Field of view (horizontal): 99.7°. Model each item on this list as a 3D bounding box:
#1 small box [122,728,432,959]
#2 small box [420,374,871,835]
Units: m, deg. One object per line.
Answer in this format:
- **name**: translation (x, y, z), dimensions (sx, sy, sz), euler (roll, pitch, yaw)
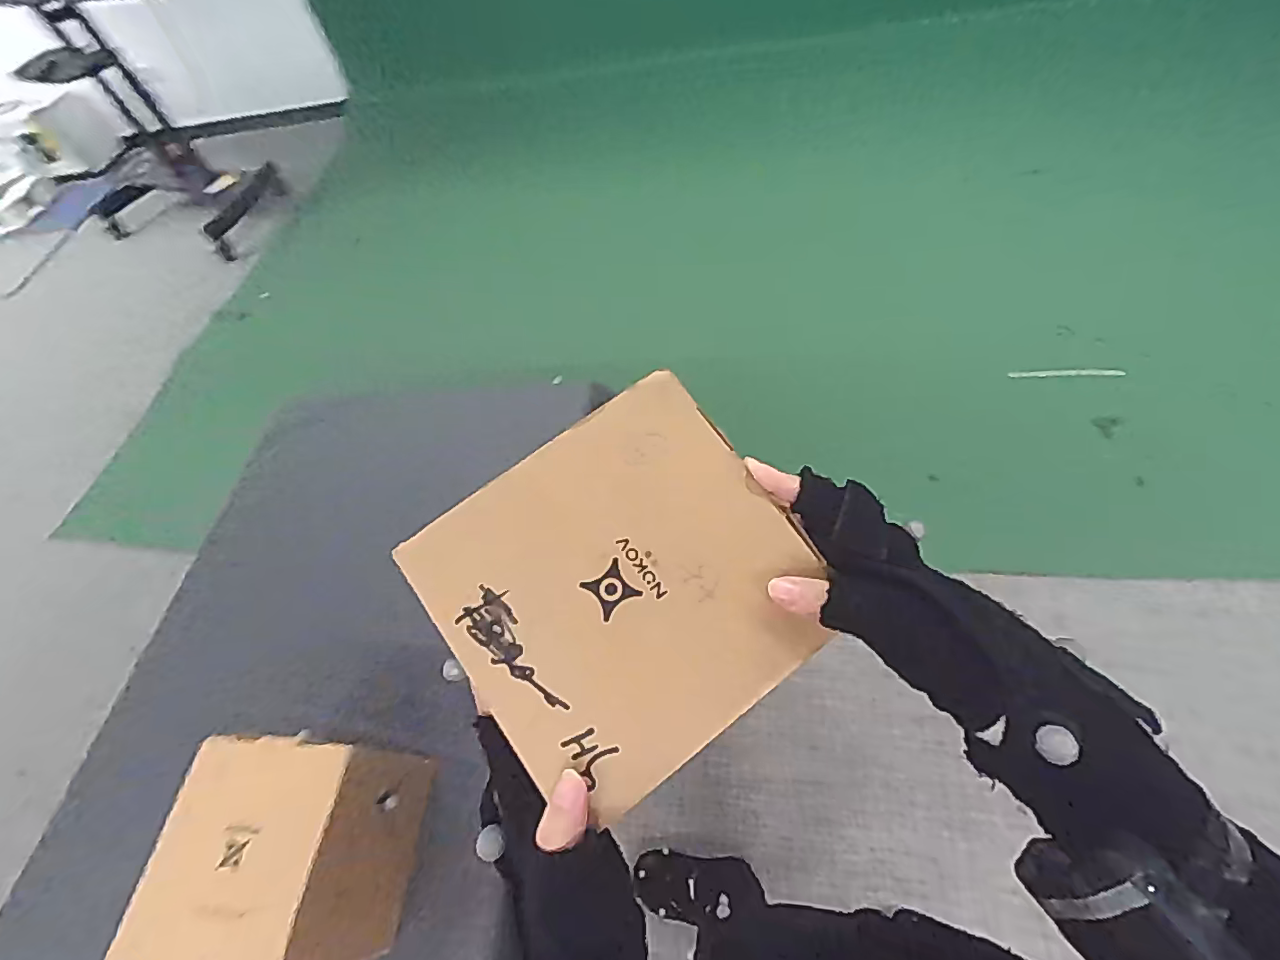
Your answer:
- **small box**: translation (-0.338, 0.361, 0.550), dimensions (0.168, 0.176, 0.179), euler (-3, 59, 11)
- **small box**: translation (0.001, 0.070, 0.351), dimensions (0.179, 0.176, 0.168), euler (-37, 79, -9)
